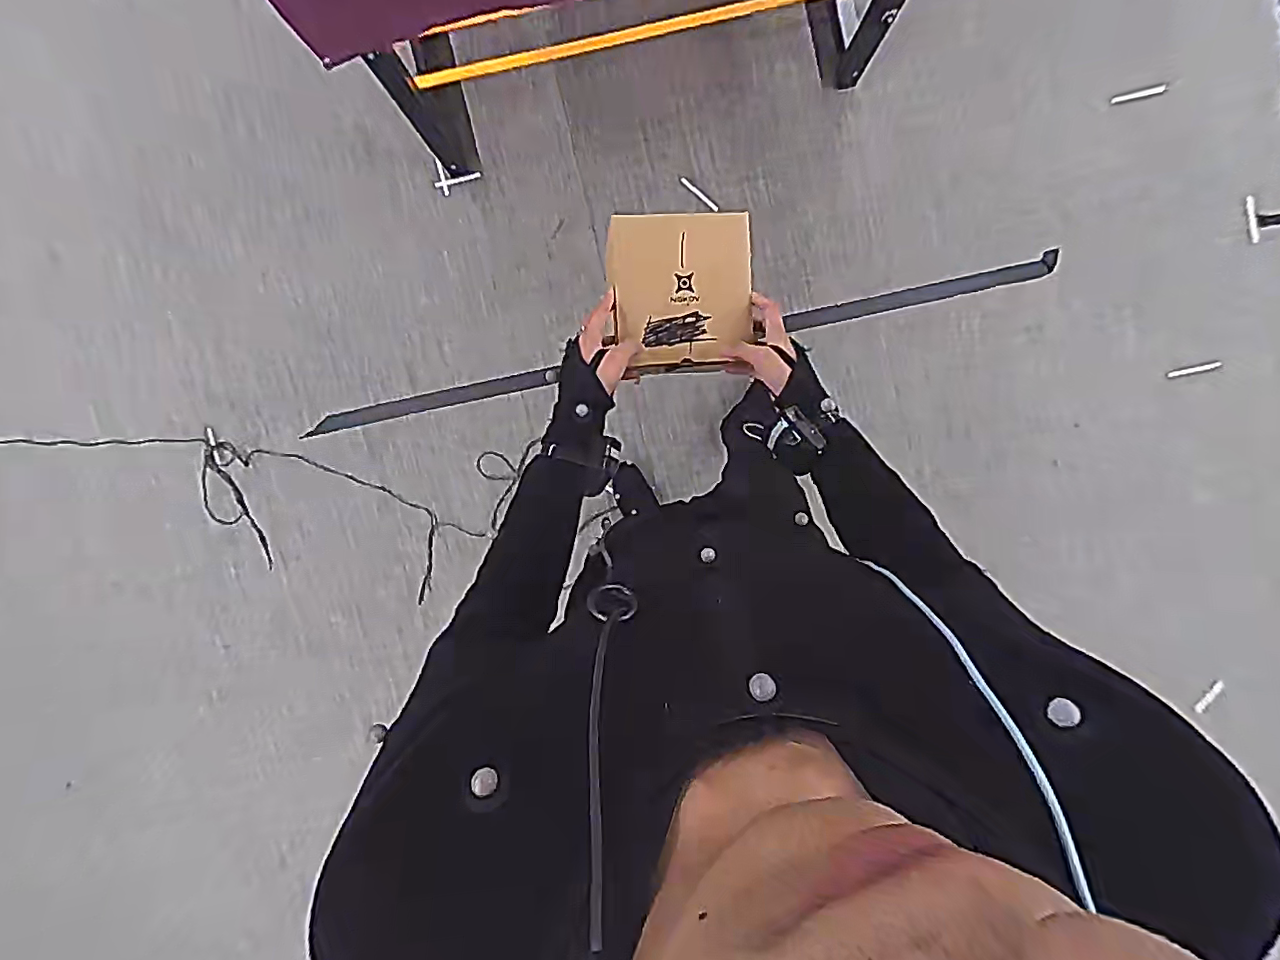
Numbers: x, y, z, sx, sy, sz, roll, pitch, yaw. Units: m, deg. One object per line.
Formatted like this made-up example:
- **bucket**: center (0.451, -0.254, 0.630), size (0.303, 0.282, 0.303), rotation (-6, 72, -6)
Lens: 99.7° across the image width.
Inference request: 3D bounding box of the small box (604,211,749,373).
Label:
- **small box**: center (0.040, -0.235, 0.714), size (0.168, 0.176, 0.179), rotation (-4, 97, -6)
